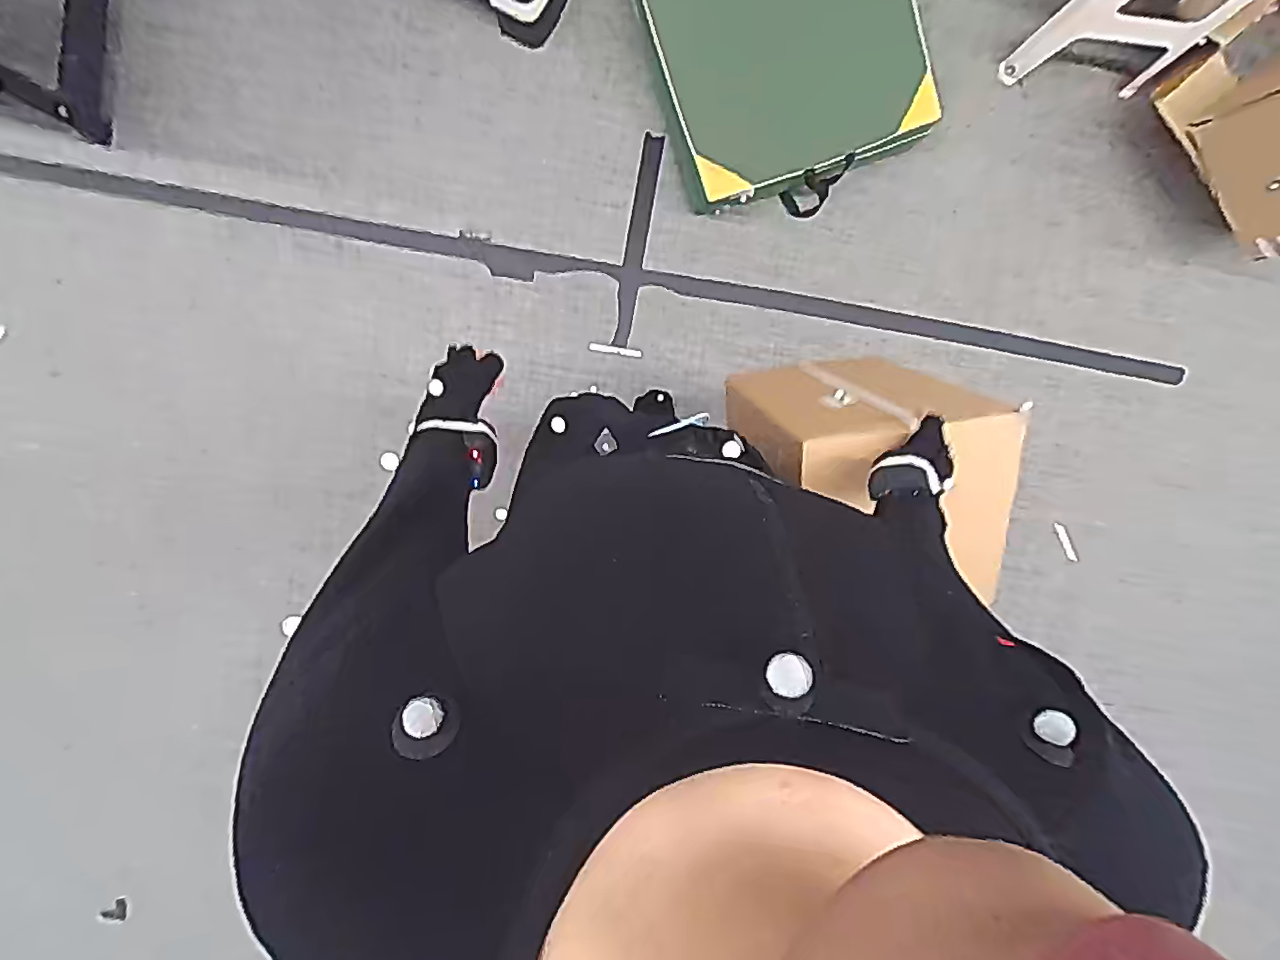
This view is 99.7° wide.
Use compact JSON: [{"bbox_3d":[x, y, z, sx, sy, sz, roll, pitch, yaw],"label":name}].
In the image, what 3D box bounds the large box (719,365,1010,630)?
[{"bbox_3d":[0.345,0.001,0.968,0.320,0.408,0.320,-9,115,-4],"label":"large box"}]
